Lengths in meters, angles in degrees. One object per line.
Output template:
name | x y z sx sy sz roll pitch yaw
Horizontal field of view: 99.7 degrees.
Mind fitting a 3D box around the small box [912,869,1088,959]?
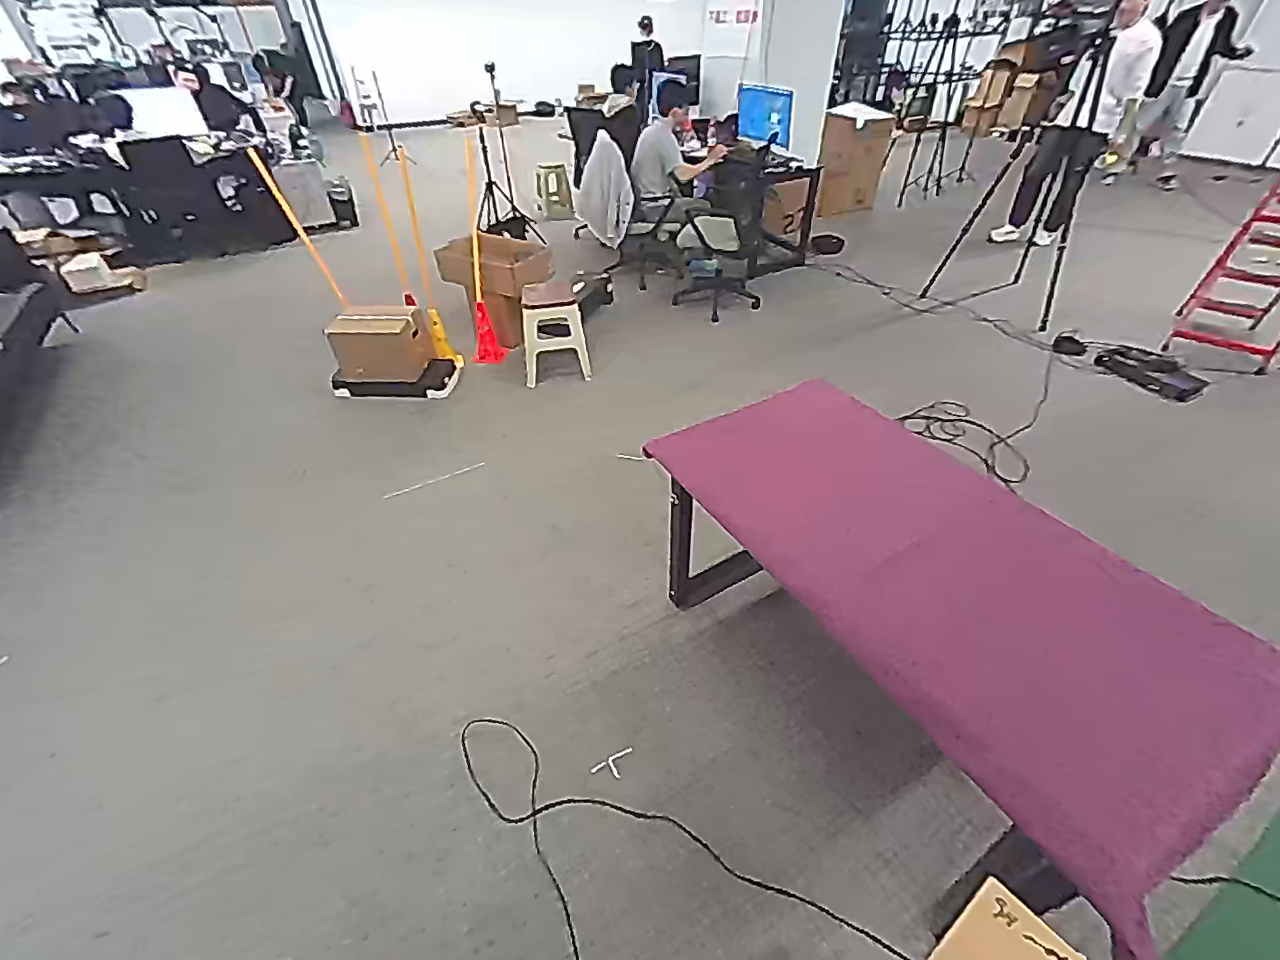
small box | 0.412 0.610 0.618 0.179 0.176 0.168 -29 40 -23
